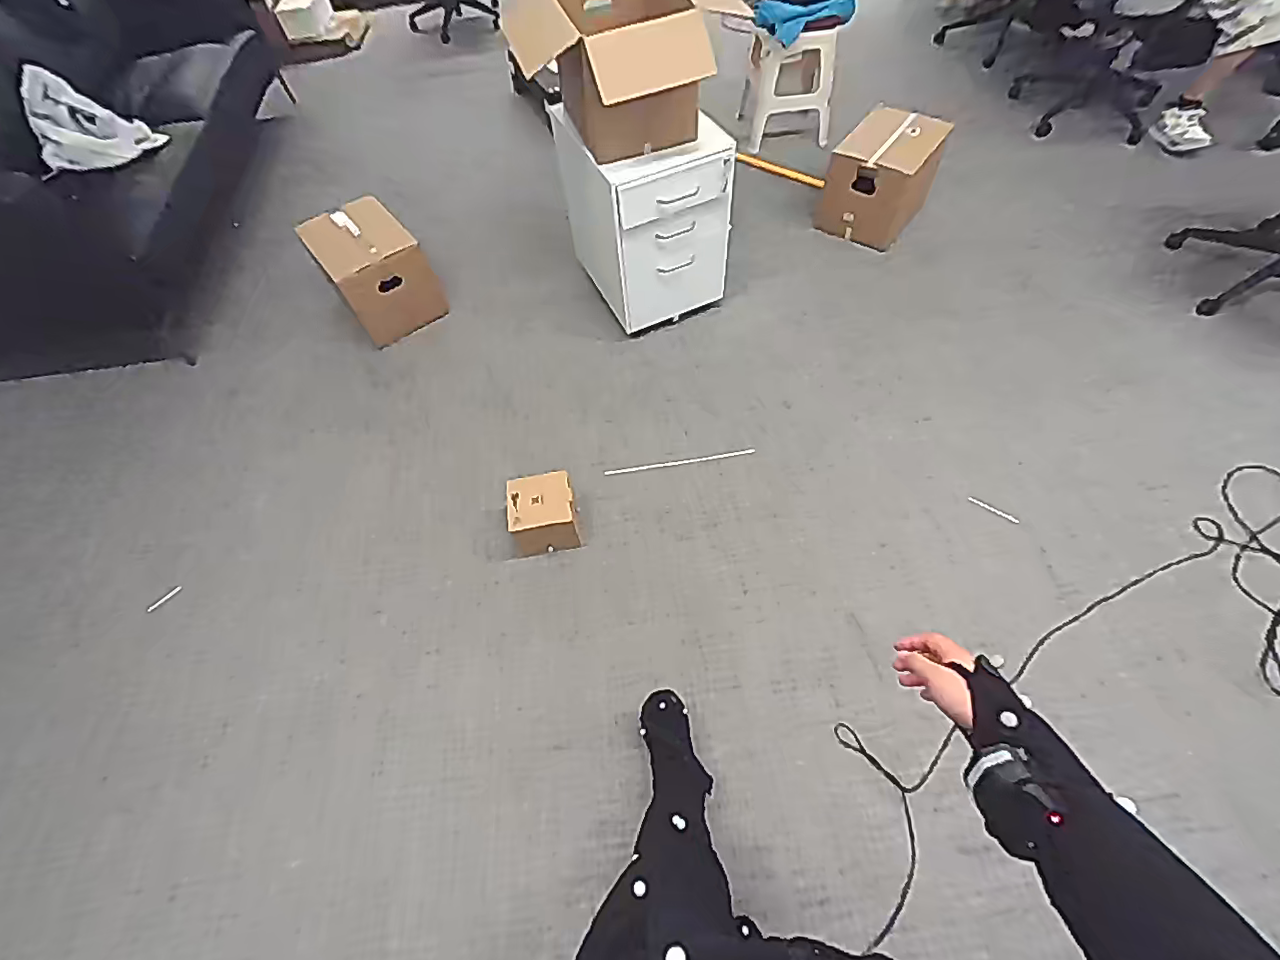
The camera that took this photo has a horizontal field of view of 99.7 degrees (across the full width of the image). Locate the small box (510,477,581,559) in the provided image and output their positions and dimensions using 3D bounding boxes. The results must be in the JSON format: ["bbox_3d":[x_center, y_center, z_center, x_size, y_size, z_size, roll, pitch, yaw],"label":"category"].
[{"bbox_3d":[-0.268,0.113,1.556,0.179,0.176,0.168,-10,58,-1],"label":"small box"}]
